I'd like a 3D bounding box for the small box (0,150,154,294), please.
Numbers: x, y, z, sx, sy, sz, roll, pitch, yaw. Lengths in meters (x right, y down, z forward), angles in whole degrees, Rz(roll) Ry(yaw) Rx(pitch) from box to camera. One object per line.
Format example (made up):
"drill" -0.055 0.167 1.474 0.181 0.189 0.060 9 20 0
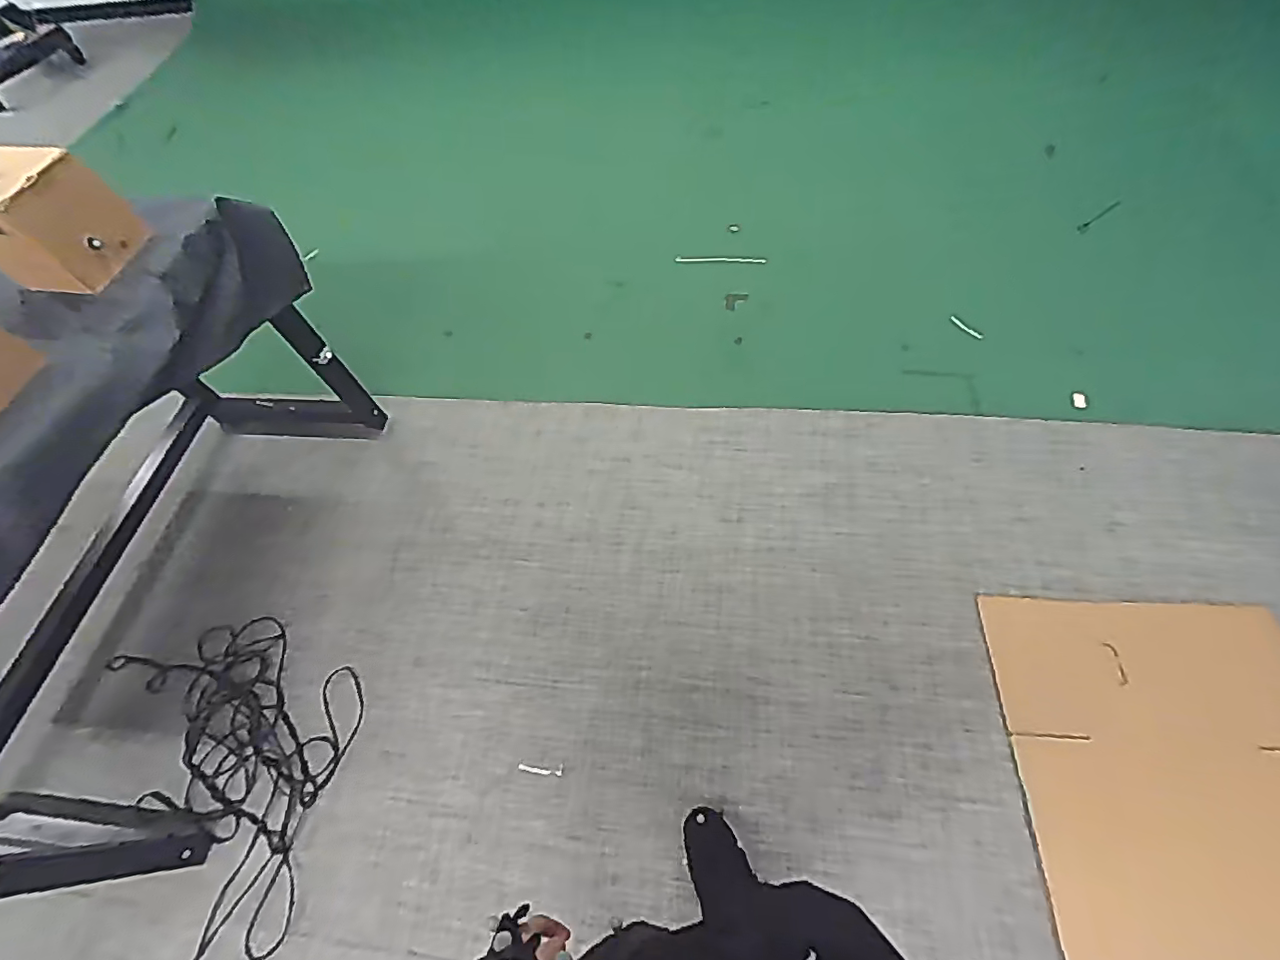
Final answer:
"small box" -1.034 -0.447 0.947 0.179 0.176 0.168 6 61 10
